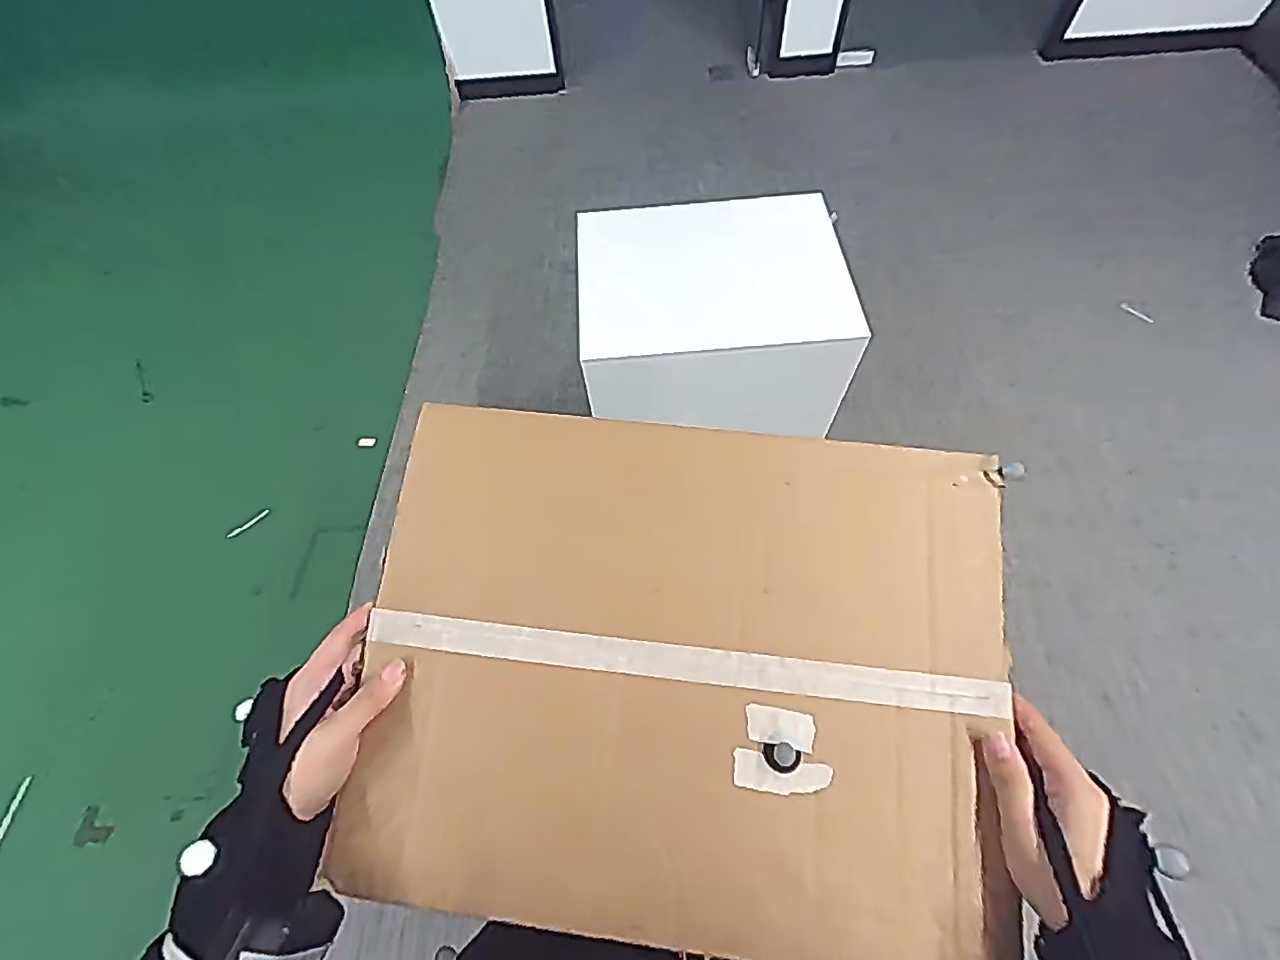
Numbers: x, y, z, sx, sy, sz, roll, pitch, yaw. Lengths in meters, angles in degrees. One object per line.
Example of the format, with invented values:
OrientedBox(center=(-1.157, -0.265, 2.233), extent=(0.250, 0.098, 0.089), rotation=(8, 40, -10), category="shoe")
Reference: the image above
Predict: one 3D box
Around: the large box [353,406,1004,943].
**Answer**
OrientedBox(center=(0.034, 0.144, 0.505), extent=(0.408, 0.320, 0.320), rotation=(6, 77, 3), category="large box")
